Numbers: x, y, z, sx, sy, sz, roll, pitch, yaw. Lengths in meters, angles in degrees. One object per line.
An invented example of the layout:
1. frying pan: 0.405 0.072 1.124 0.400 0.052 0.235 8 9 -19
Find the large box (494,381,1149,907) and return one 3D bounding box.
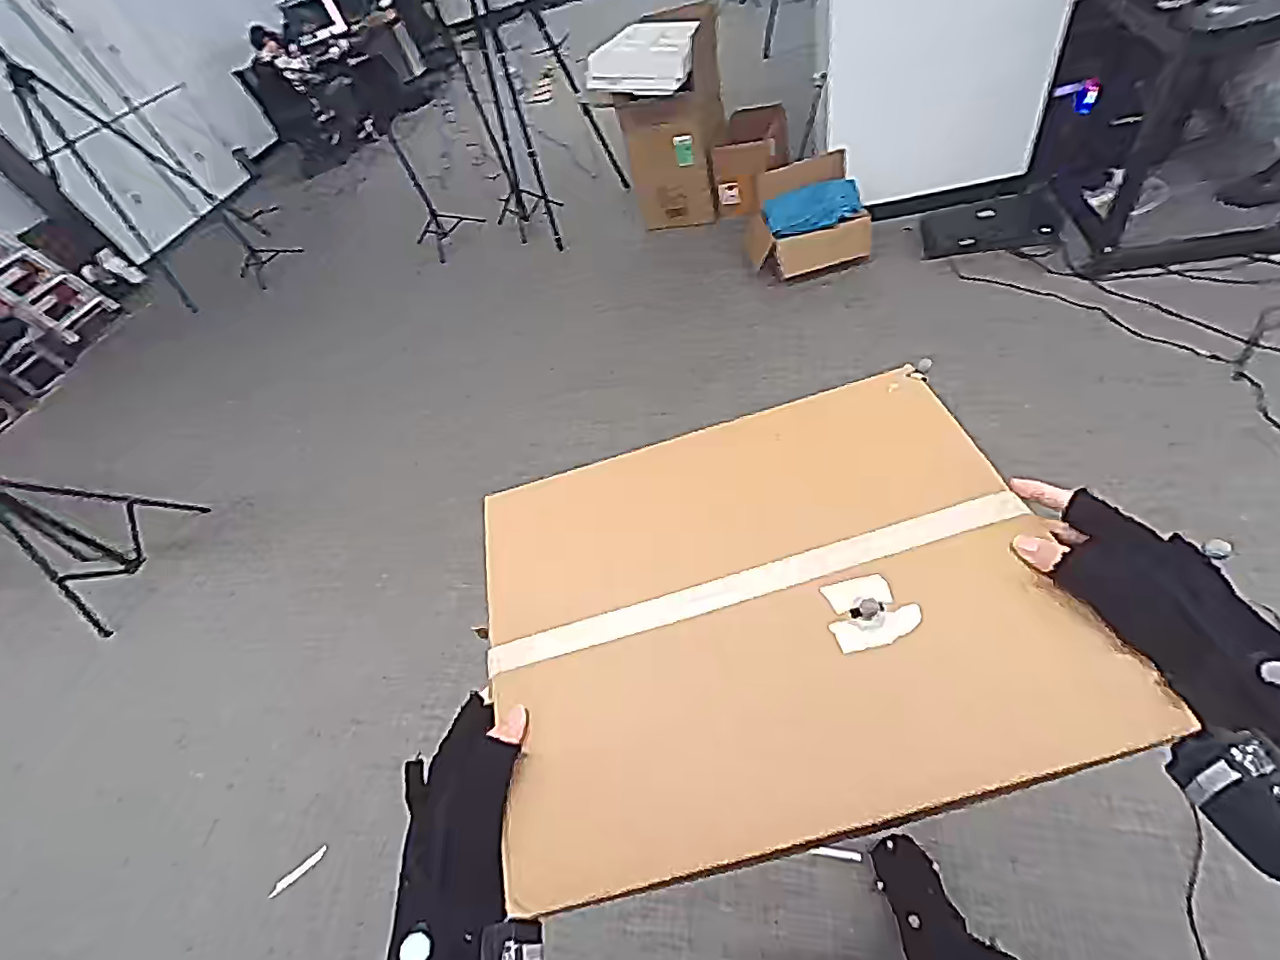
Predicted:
1. large box: 0.114 0.169 0.534 0.408 0.320 0.320 -18 53 1
